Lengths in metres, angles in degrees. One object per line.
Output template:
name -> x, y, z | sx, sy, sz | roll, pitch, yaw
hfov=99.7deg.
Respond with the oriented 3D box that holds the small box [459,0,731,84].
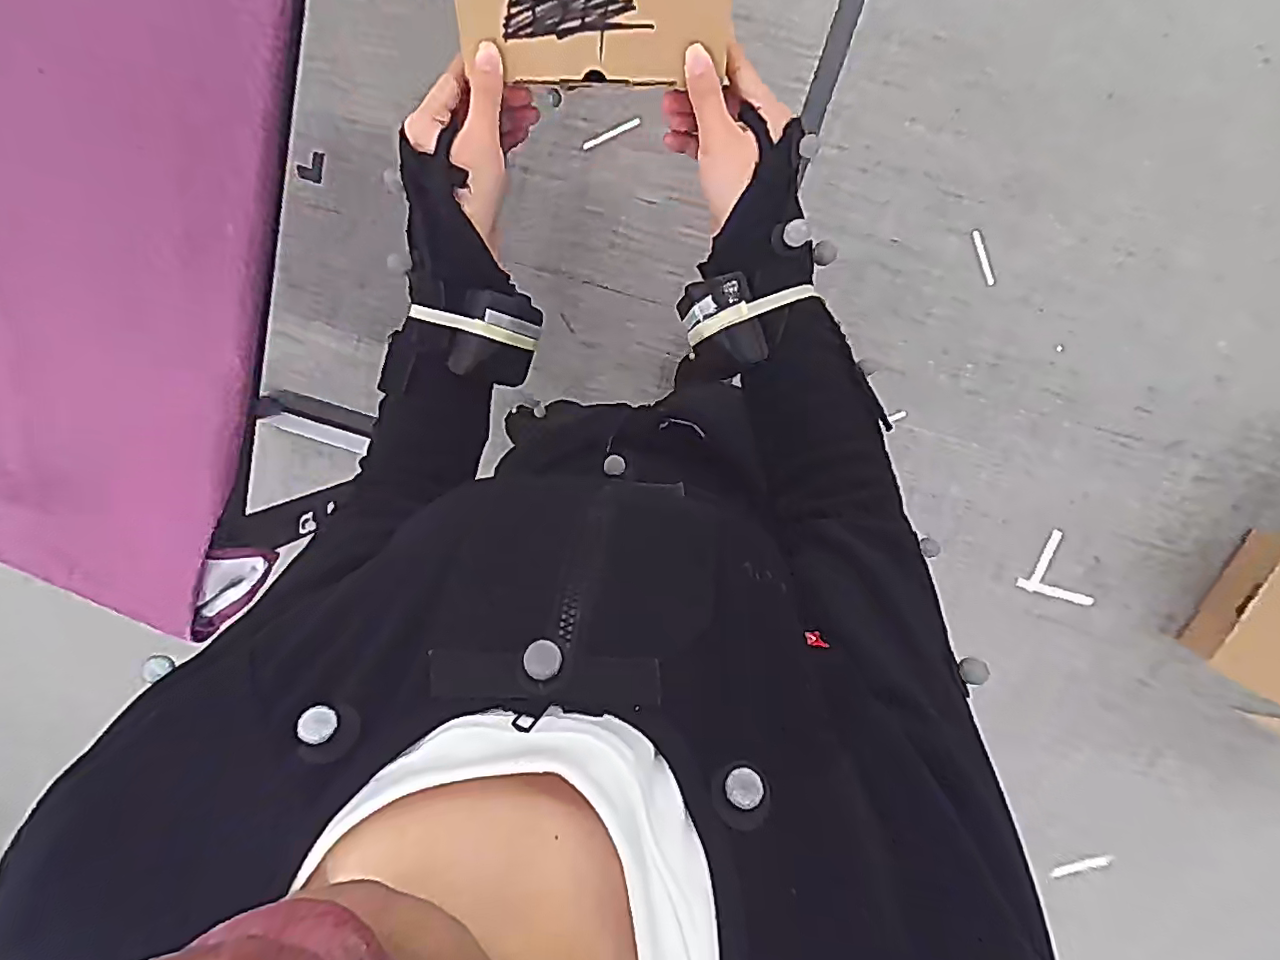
small box -> -0.021, -0.370, 0.354 | 0.168, 0.176, 0.179 | 2, 125, 1
